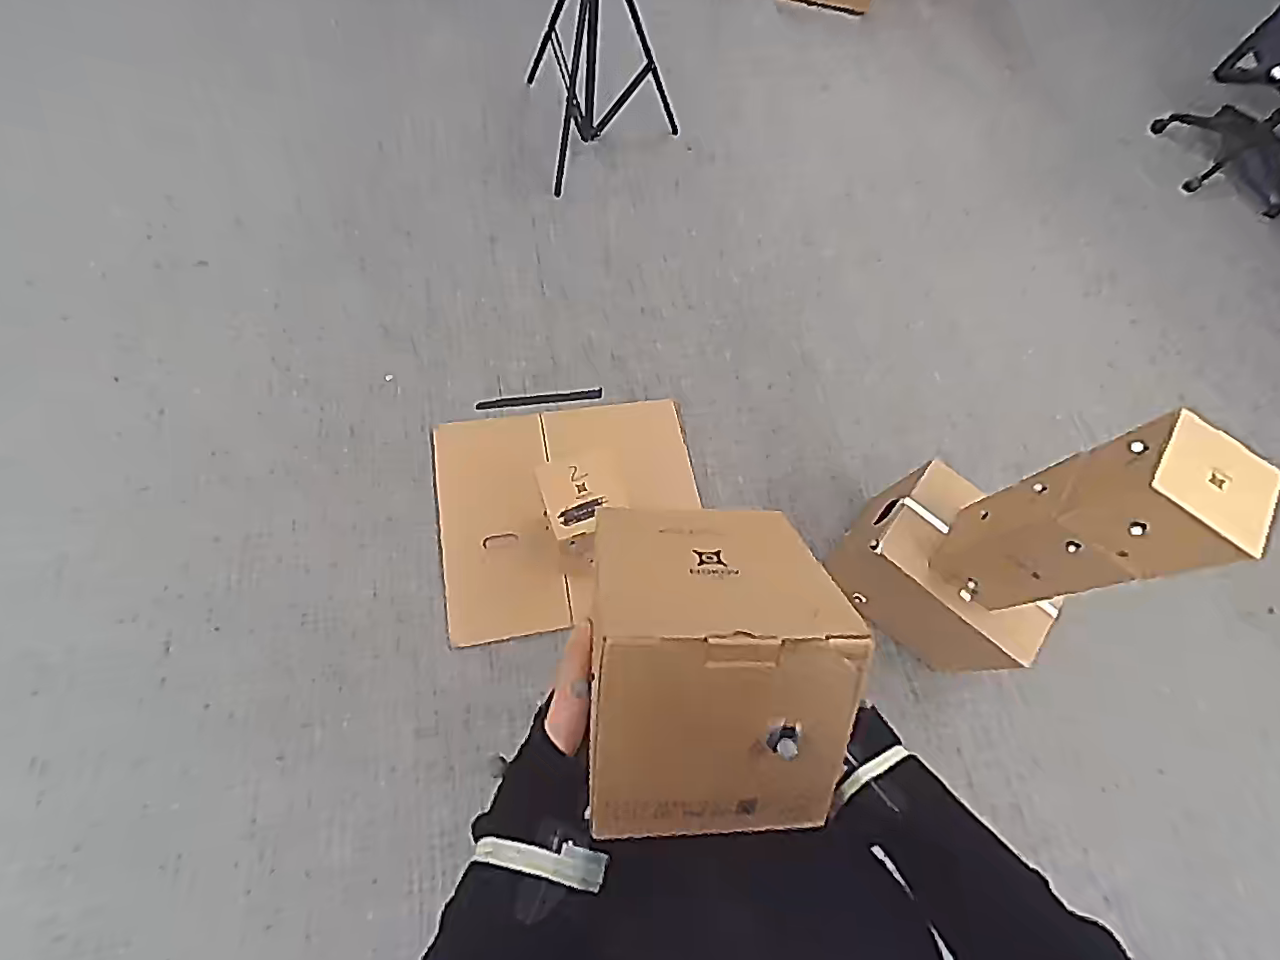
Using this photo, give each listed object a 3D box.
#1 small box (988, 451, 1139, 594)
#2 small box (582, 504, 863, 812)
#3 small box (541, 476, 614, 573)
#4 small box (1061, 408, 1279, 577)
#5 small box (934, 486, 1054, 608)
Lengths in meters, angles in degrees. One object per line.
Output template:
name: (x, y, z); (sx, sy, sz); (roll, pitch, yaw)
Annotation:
small box: (0.792, 0.084, 0.999); (0.168, 0.176, 0.179); (39, 68, 9)
small box: (0.042, 0.130, 0.423); (0.168, 0.179, 0.176); (2, 111, -8)
small box: (-0.145, 0.115, 1.358); (0.168, 0.176, 0.179); (-16, 72, -12)
small box: (0.815, 0.028, 0.848); (0.168, 0.176, 0.179); (39, 68, 8)
small box: (0.769, 0.148, 1.149); (0.168, 0.176, 0.179); (39, 69, 8)
